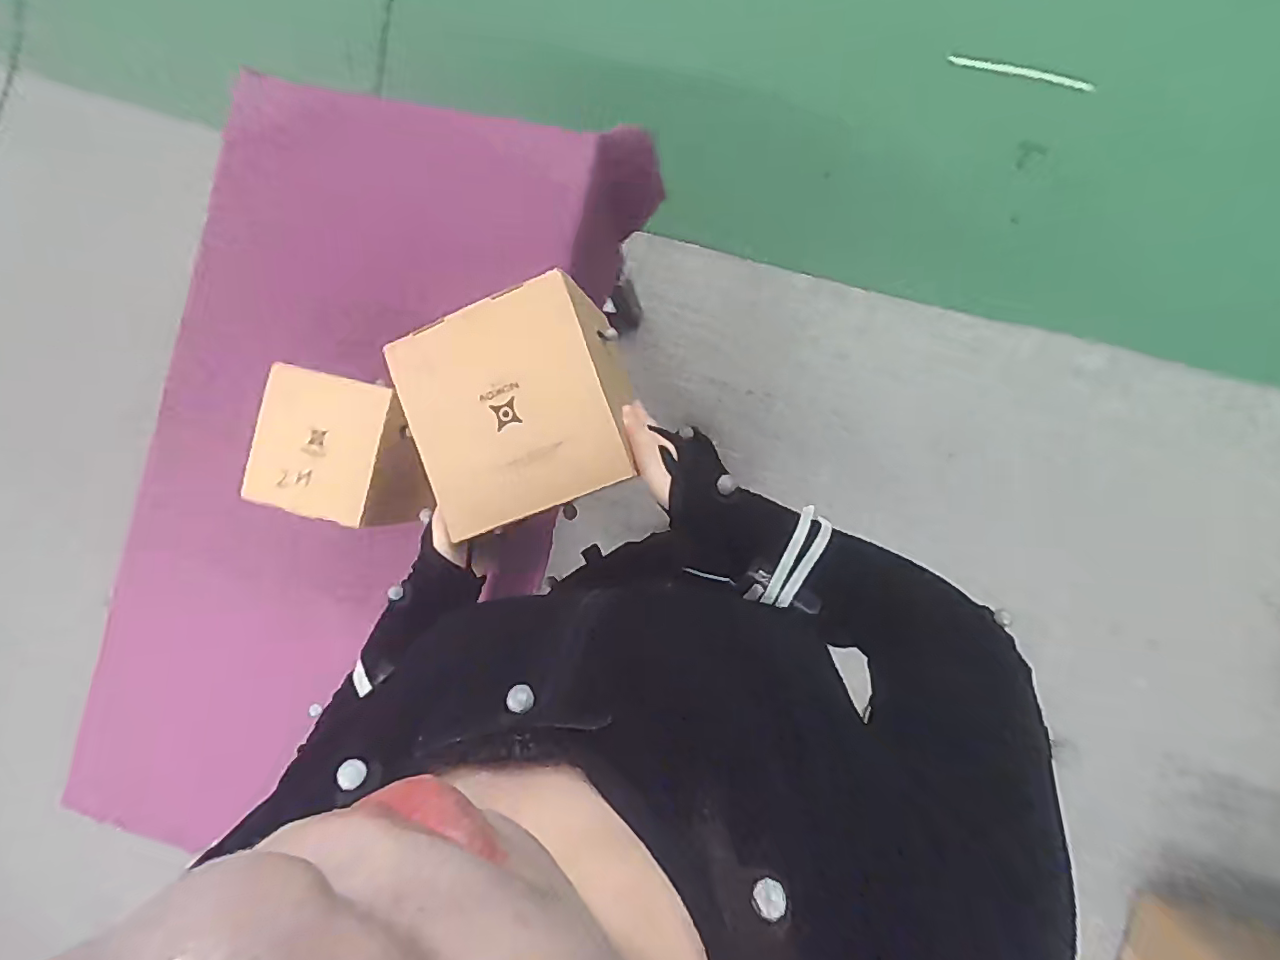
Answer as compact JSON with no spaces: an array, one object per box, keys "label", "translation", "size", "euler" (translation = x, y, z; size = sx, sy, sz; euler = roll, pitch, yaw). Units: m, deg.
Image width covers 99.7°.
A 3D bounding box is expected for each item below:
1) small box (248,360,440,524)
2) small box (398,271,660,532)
[{"label":"small box","translation":[-0.381,-0.046,0.743],"size":[0.168,0.176,0.179],"euler":[13,90,8]},{"label":"small box","translation":[-0.089,-0.065,0.518],"size":[0.168,0.176,0.179],"euler":[-19,91,11]}]
